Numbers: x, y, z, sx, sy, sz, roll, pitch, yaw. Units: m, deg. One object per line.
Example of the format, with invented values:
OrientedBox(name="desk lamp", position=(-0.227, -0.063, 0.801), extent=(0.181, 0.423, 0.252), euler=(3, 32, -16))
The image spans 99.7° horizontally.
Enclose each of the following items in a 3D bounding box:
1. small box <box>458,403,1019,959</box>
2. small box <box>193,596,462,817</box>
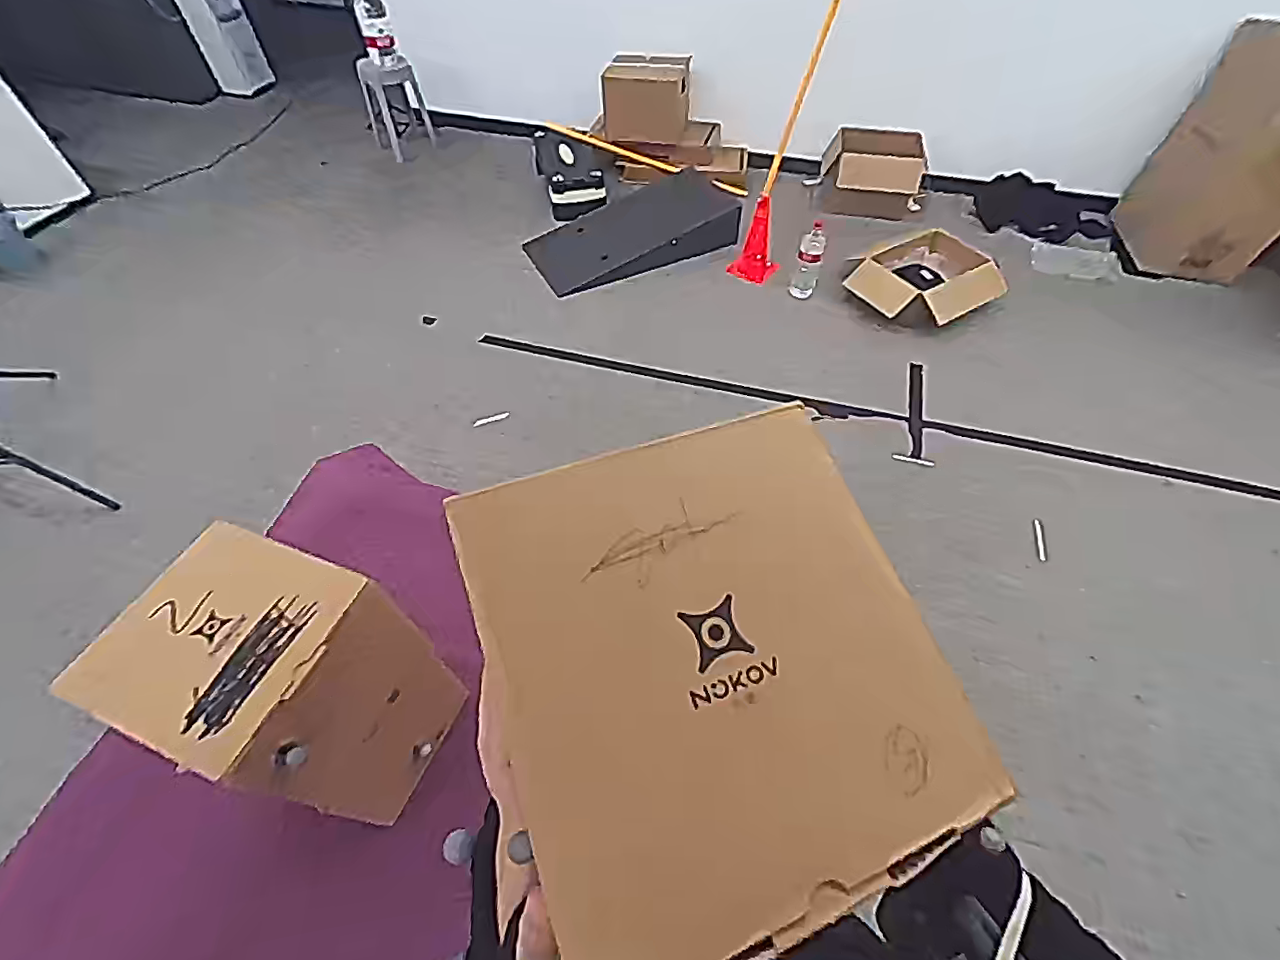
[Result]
OrientedBox(name="small box", position=(0.022, 0.093, 0.274), extent=(0.168, 0.176, 0.179), euler=(-16, 68, -16))
OrientedBox(name="small box", position=(-0.340, 0.267, 0.628), extent=(0.179, 0.176, 0.168), euler=(19, 56, 13))
